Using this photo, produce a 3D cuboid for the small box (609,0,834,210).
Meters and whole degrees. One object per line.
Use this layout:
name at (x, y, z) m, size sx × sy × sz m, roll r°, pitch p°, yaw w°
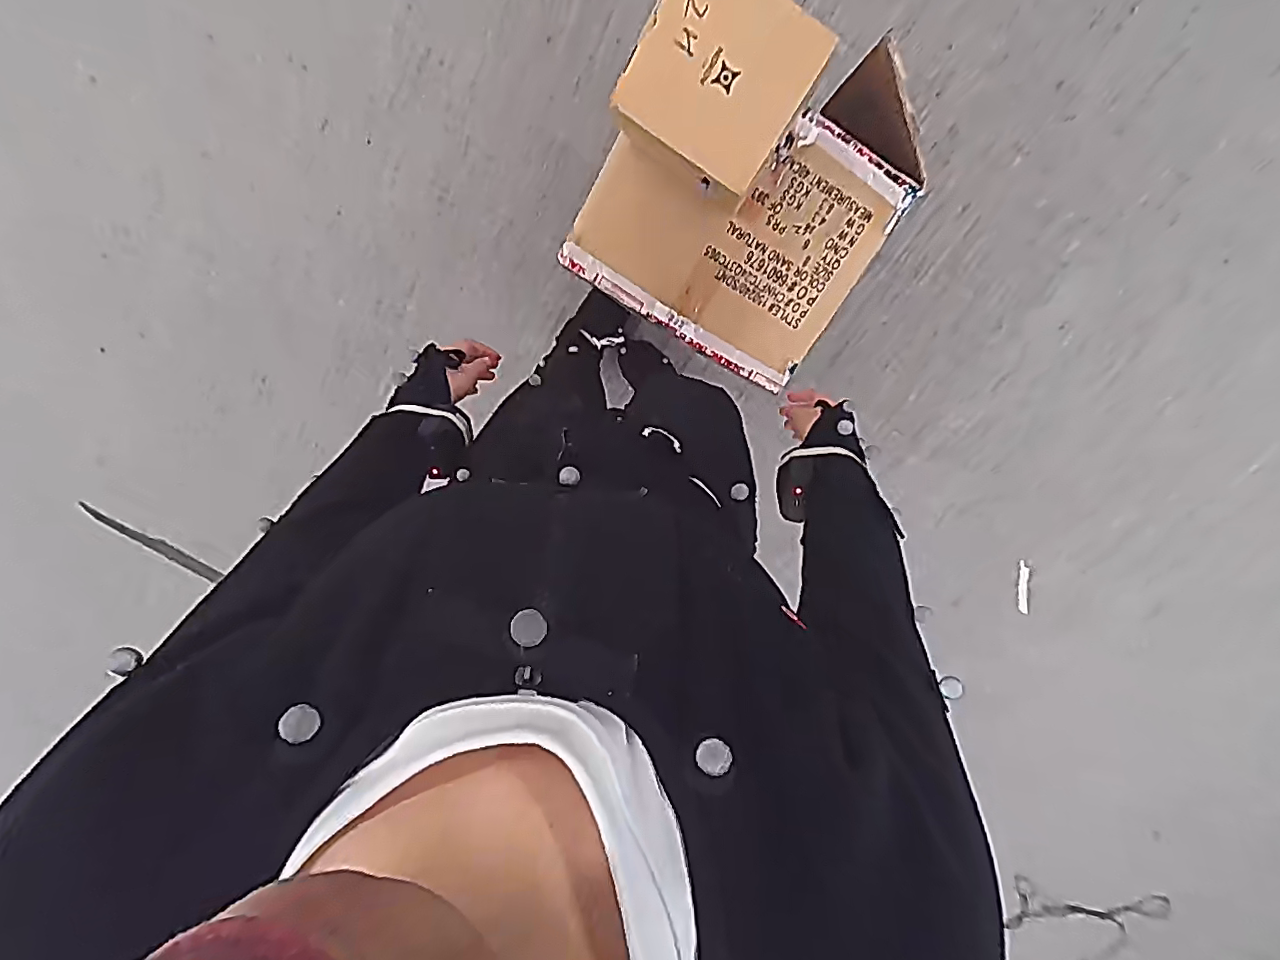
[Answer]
small box at (0.090, -0.442, 0.632) m, size 0.179 × 0.176 × 0.168 m, roll 33°, pitch 109°, yaw -5°
